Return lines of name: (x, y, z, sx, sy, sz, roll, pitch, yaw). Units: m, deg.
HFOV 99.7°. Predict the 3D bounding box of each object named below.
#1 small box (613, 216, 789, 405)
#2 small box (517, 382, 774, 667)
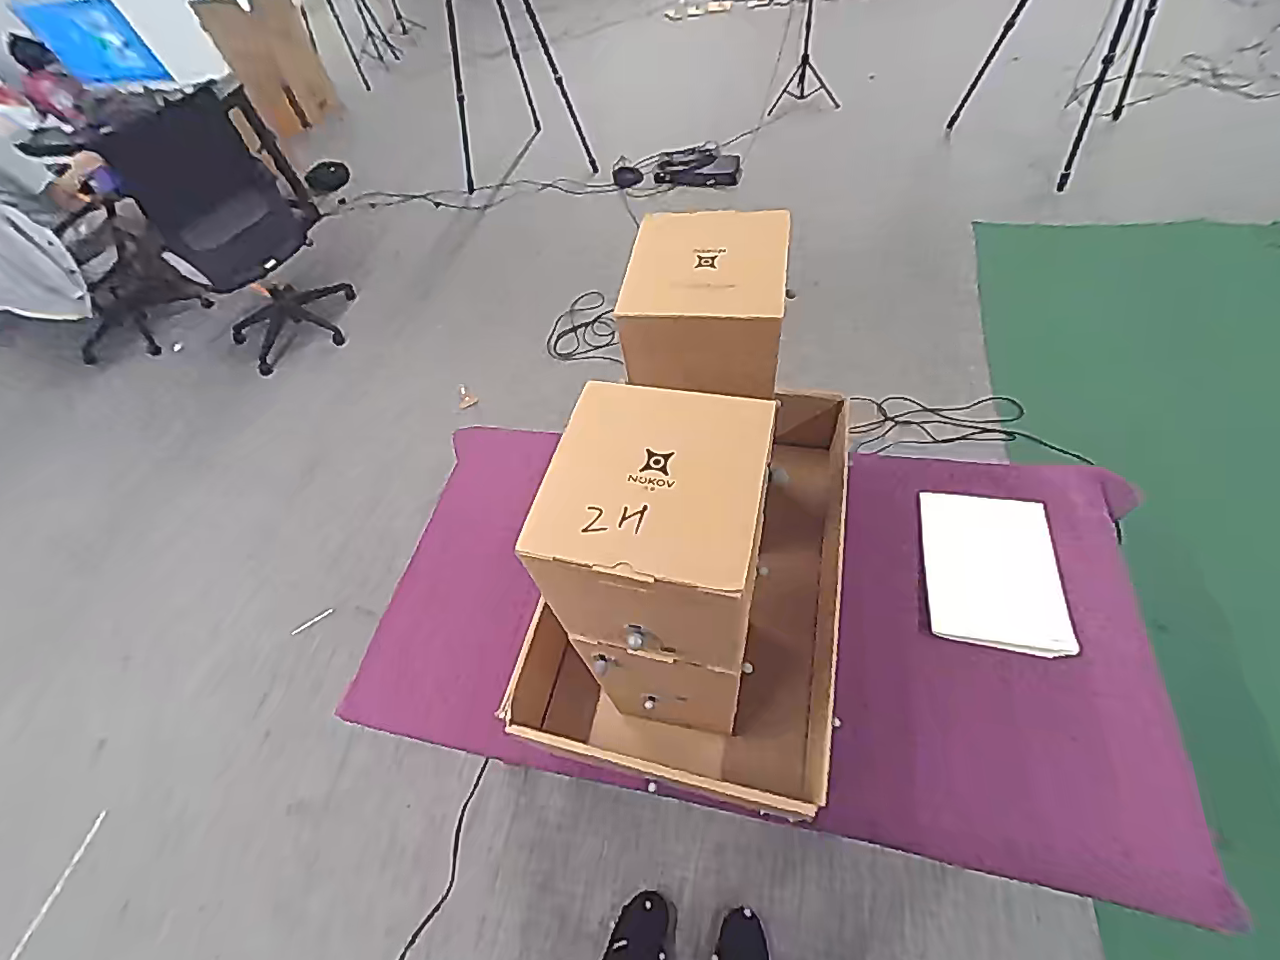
small box: (0.076, -0.180, 0.631, 0.168, 0.176, 0.179, 5, 58, 12)
small box: (0.018, 0.041, 0.480, 0.168, 0.176, 0.179, 9, 57, 15)
